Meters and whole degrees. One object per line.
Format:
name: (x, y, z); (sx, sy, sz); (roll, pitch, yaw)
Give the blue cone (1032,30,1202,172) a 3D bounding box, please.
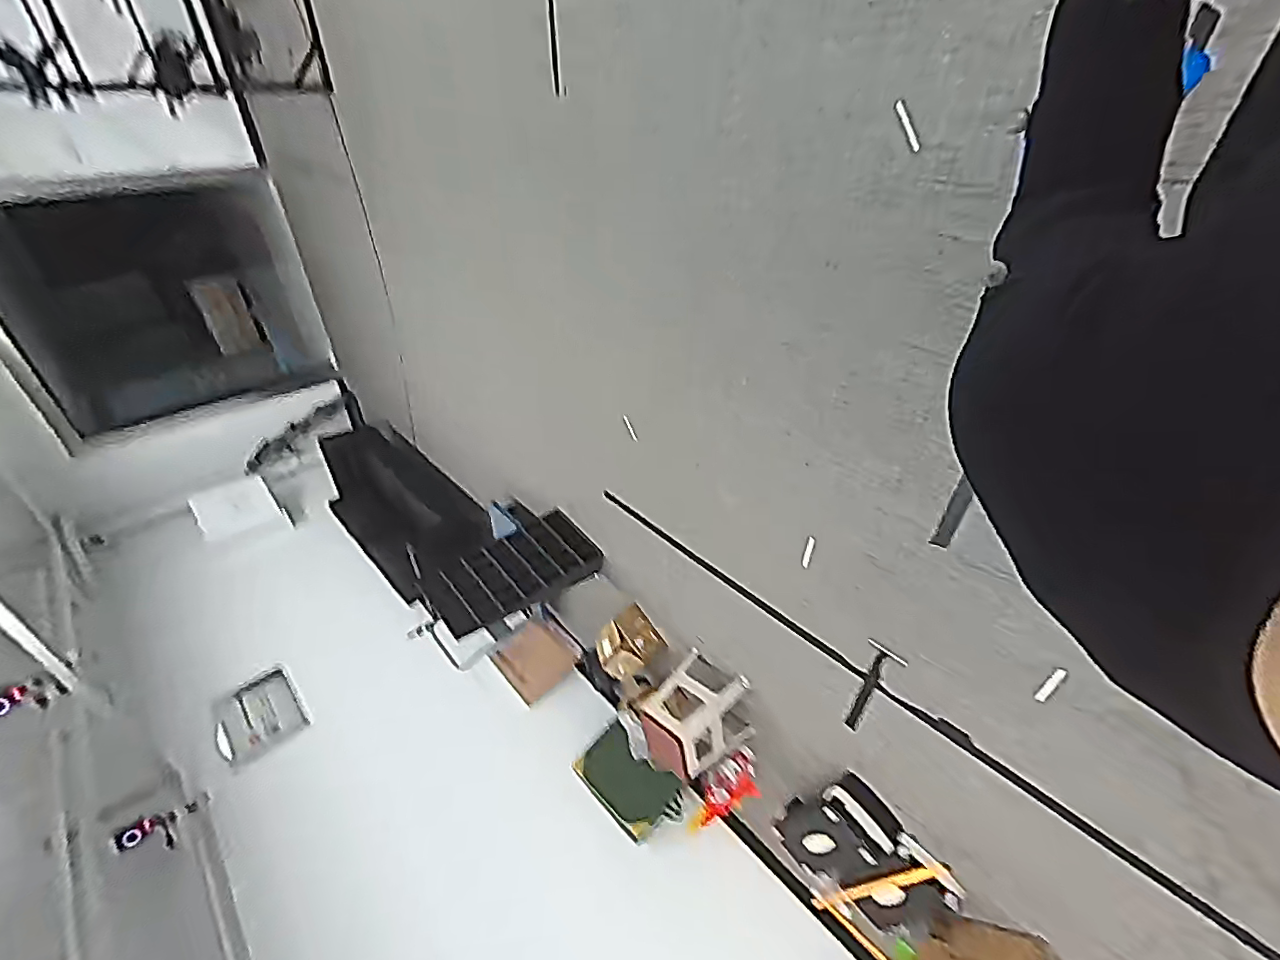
blue cone: (0.771, -0.648, 0.932); (0.193, 0.380, 0.192); (49, 145, 20)
